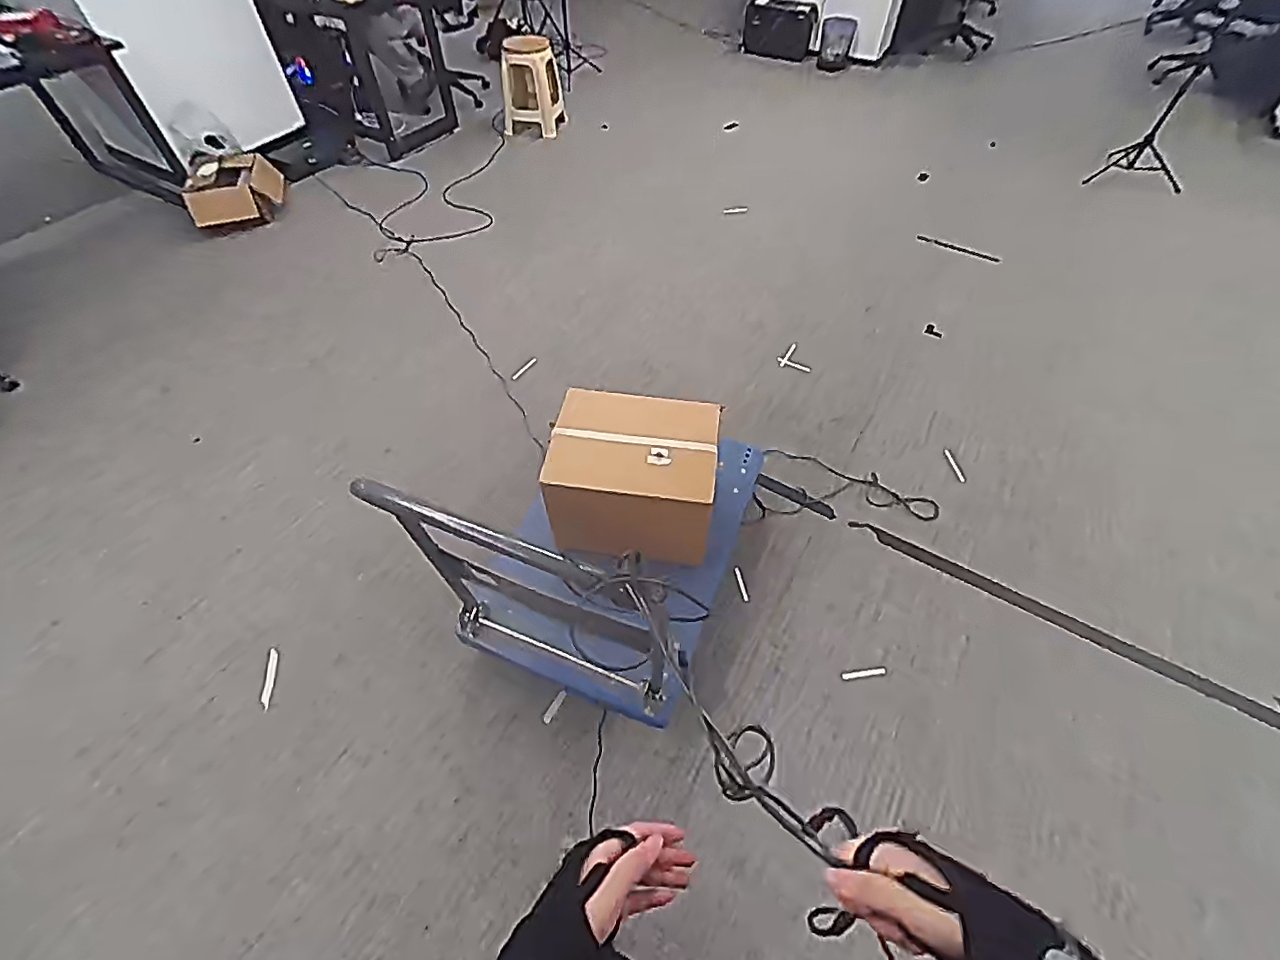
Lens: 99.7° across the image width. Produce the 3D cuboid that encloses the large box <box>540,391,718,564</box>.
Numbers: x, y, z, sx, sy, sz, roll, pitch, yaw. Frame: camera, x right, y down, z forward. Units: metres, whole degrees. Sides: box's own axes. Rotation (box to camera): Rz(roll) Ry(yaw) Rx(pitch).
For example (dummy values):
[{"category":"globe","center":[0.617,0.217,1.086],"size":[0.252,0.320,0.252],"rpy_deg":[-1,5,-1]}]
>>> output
[{"category":"large box","center":[-0.019,-0.002,1.427],"size":[0.408,0.320,0.320],"rpy_deg":[7,54,5]}]
